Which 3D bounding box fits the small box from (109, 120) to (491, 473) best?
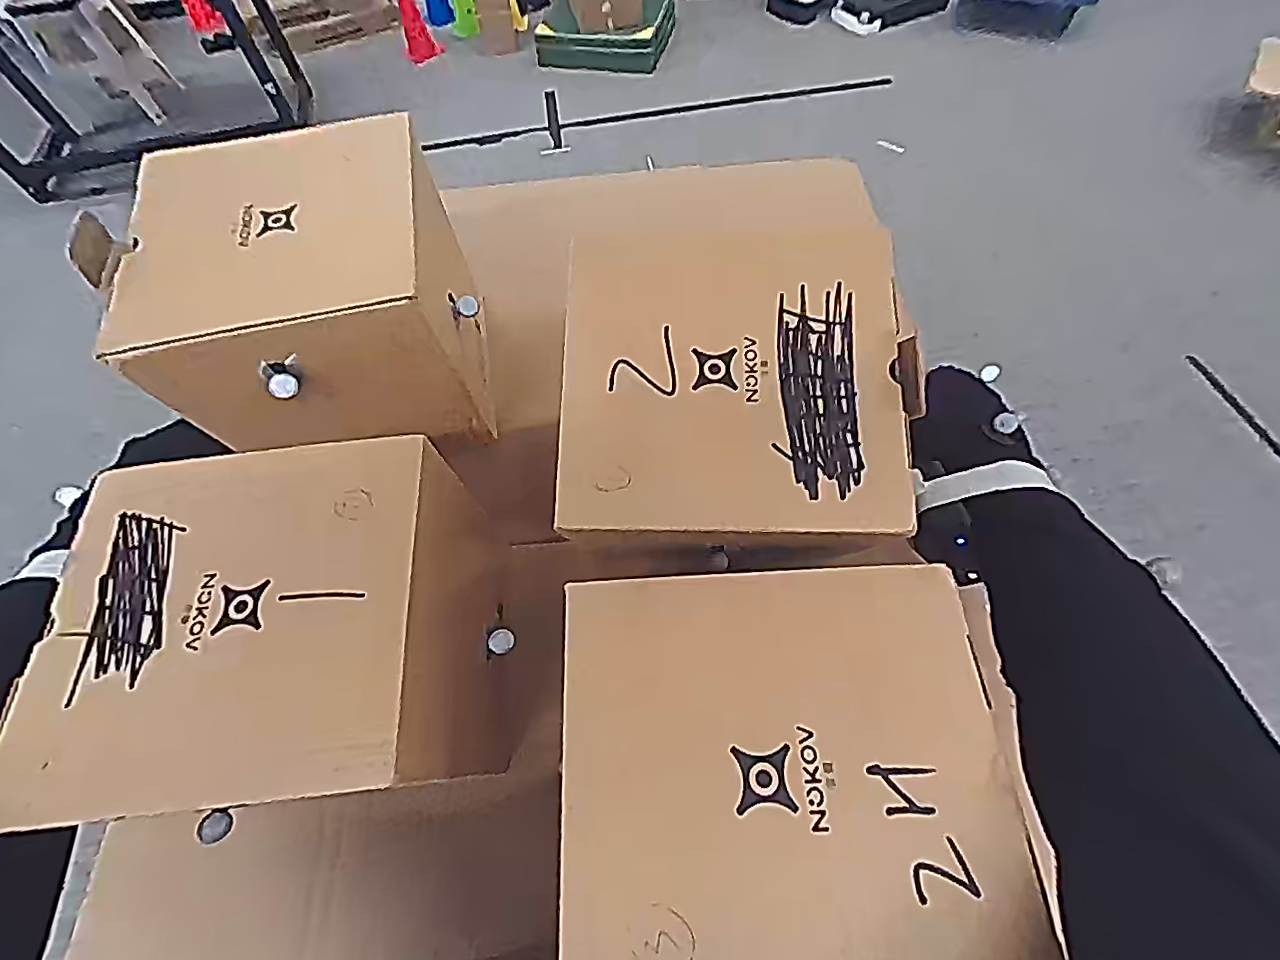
[{"bbox_3d":[-0.219,-0.123,0.405,0.179,0.176,0.168,-12,65,-2],"label":"small box"}]
